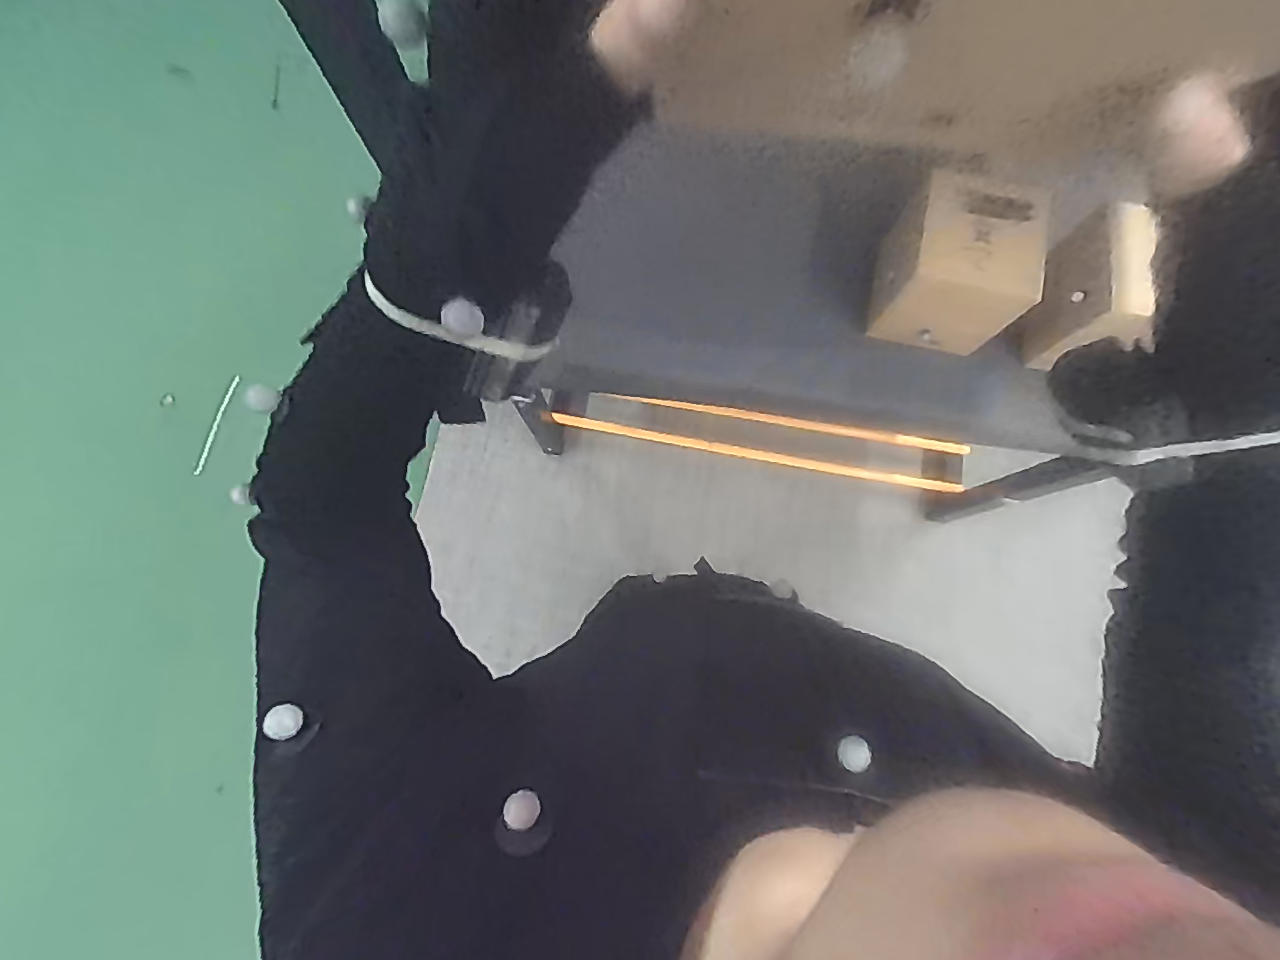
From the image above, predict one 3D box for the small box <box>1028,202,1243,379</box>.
[{"bbox_3d":[0.707,-0.267,0.794,0.168,0.176,0.179,10,75,2],"label":"small box"}]
